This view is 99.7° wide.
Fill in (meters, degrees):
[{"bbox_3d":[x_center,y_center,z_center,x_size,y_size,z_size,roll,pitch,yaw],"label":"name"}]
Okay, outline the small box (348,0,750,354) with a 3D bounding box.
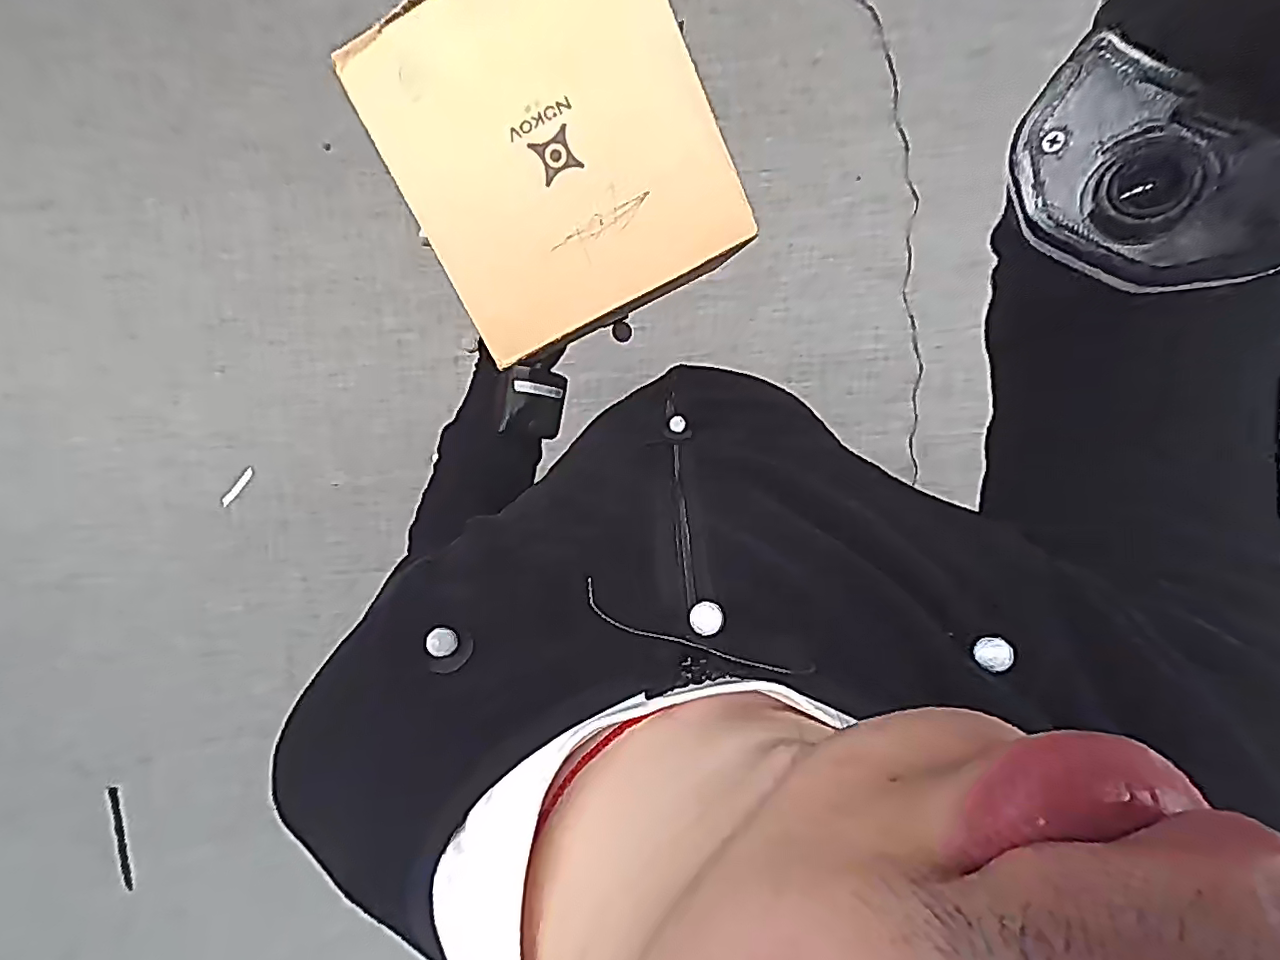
[{"bbox_3d":[-0.047,-0.201,0.370,0.168,0.176,0.179,-25,104,7],"label":"small box"}]
